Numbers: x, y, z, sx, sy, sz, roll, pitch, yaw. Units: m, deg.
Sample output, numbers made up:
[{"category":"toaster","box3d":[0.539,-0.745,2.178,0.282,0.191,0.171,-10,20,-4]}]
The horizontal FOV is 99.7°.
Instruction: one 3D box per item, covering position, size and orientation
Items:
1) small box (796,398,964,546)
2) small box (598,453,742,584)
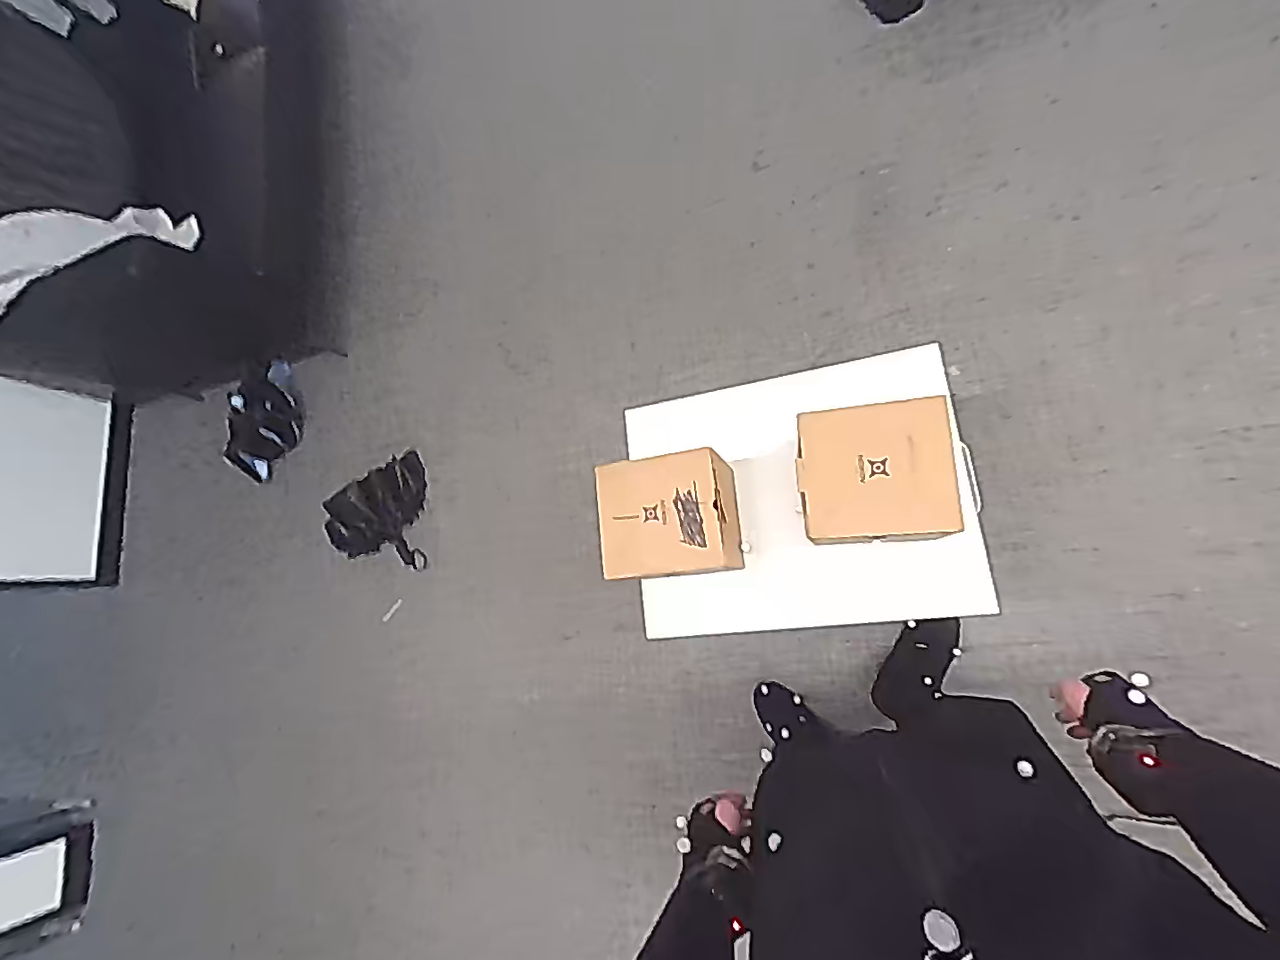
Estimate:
[{"category":"small box","box3d":[0.315,0.001,0.734,0.179,0.176,0.168,-6,80,19]},{"category":"small box","box3d":[0.053,0.066,0.818,0.179,0.176,0.168,-10,77,19]}]
